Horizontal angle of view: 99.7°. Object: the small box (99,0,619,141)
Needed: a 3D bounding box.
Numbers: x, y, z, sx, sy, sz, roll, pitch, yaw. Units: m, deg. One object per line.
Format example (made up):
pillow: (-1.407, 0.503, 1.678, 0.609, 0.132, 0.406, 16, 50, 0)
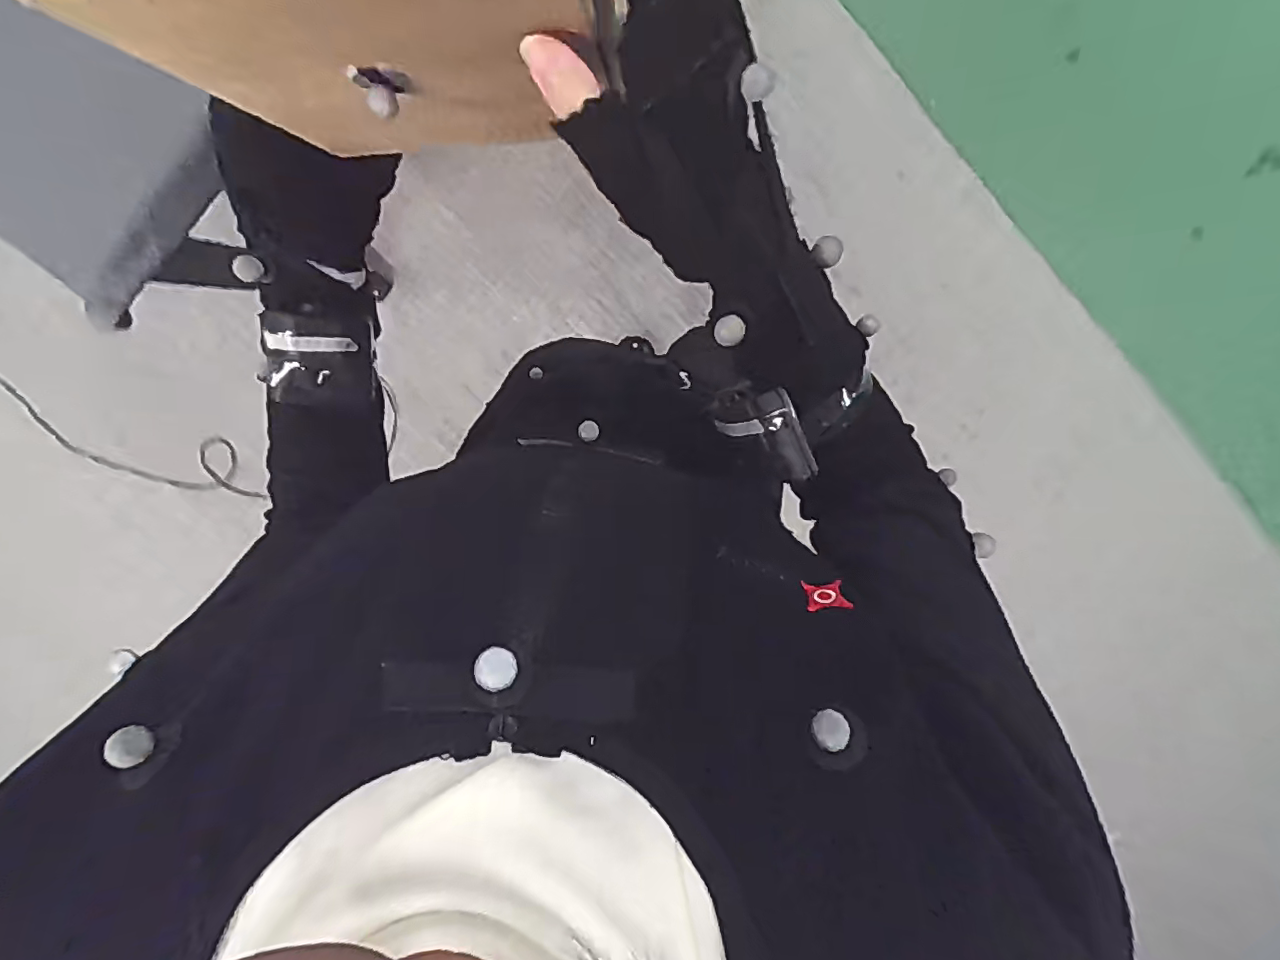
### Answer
small box: (-0.104, -0.264, 0.224, 0.179, 0.176, 0.168, -1, 104, 6)
